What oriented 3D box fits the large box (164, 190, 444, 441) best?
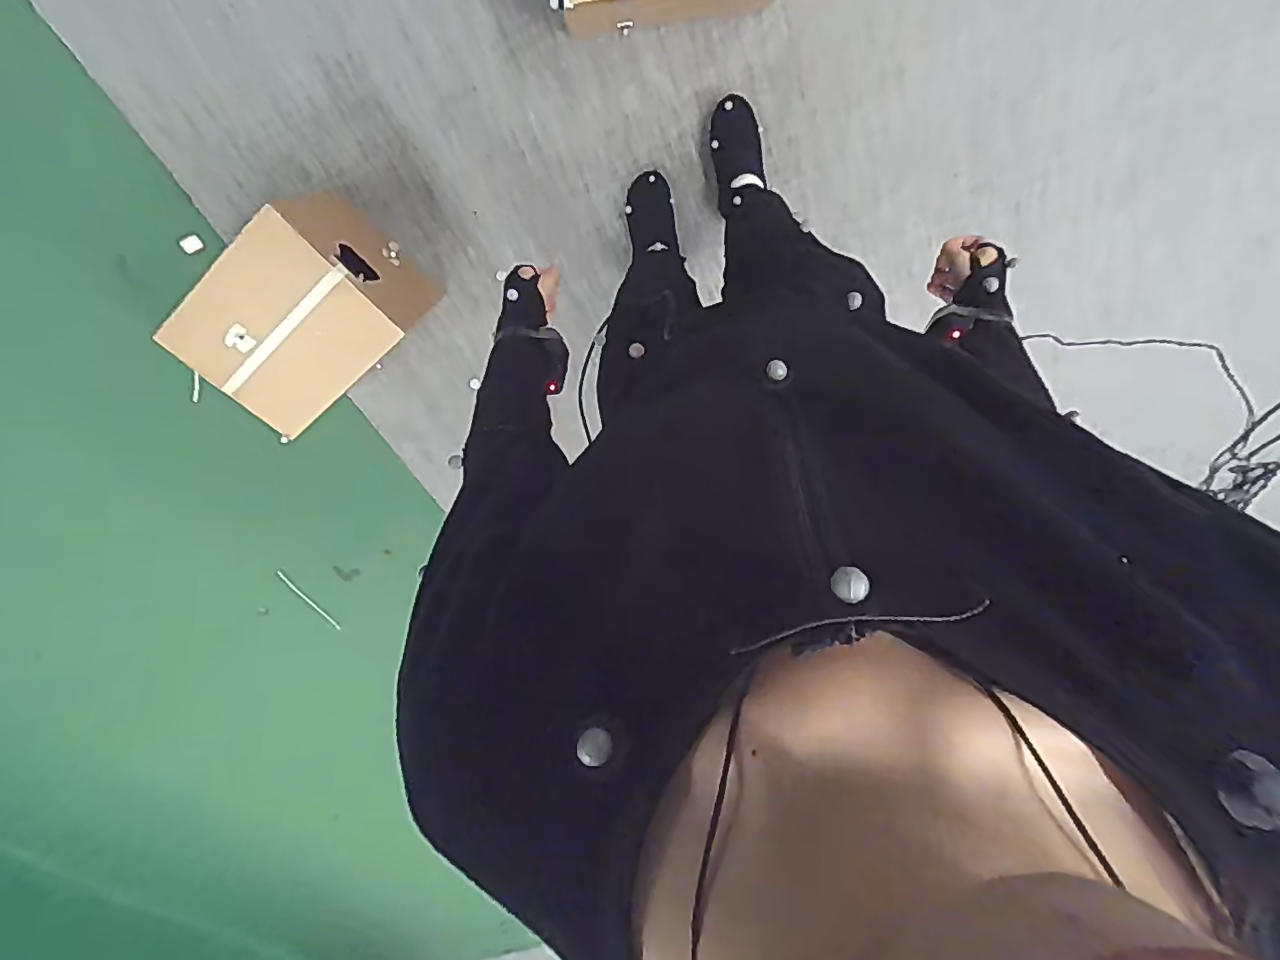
[{"bbox_3d":[-0.724,-0.372,1.221,0.408,0.320,0.320,-33,117,19],"label":"large box"}]
